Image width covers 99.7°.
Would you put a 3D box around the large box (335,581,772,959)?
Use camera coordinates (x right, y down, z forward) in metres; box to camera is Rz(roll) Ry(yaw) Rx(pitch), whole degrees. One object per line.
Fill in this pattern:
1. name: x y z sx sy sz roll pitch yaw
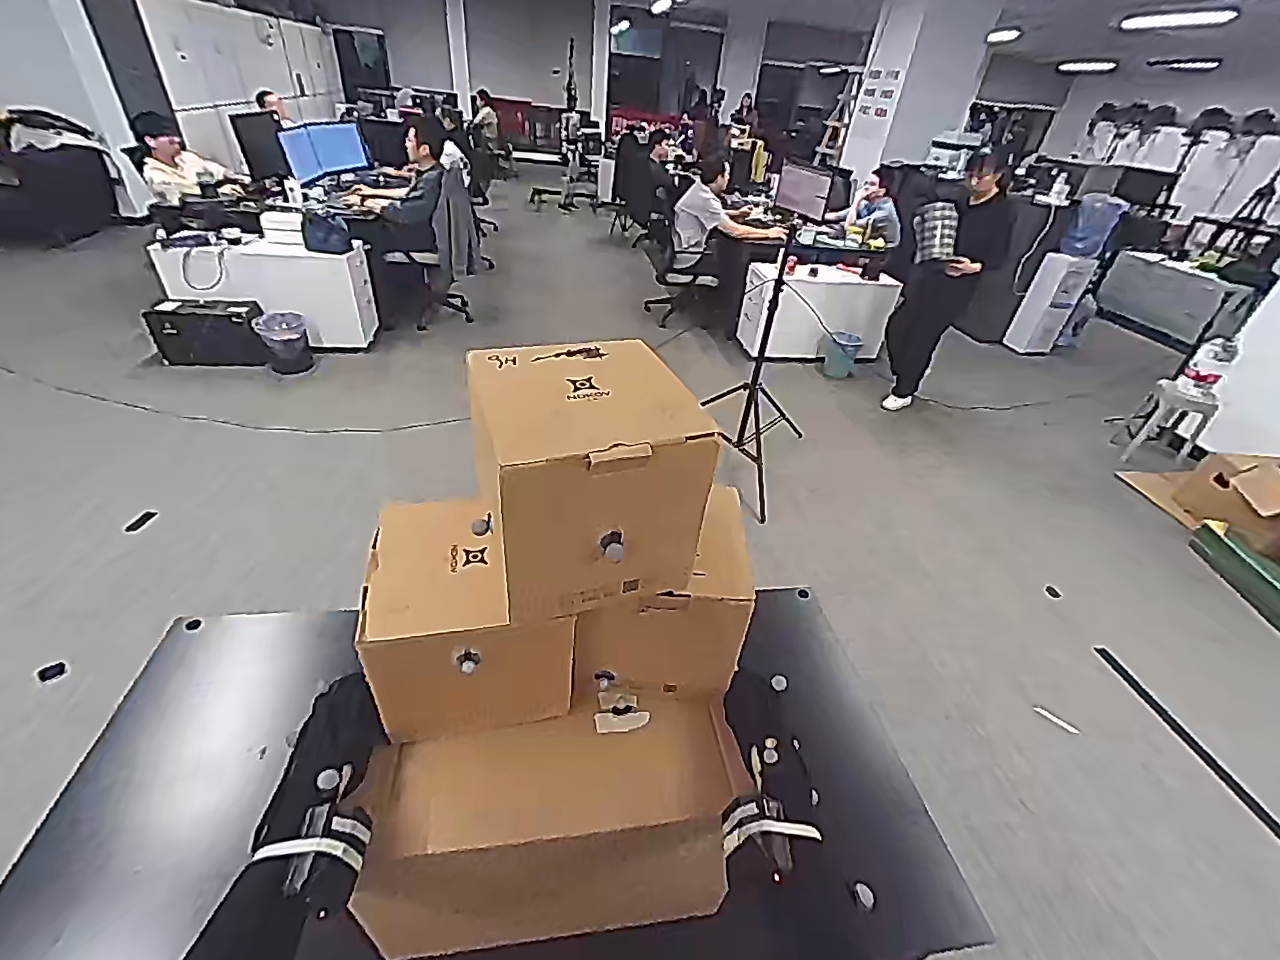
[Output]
1. large box: -0.104 0.342 0.690 0.408 0.320 0.320 0 38 -11

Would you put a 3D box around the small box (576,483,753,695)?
1. small box: 0.023 0.115 0.606 0.168 0.176 0.179 6 36 0

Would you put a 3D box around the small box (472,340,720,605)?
1. small box: -0.049 -0.008 0.486 0.168 0.176 0.179 -9 40 -20
